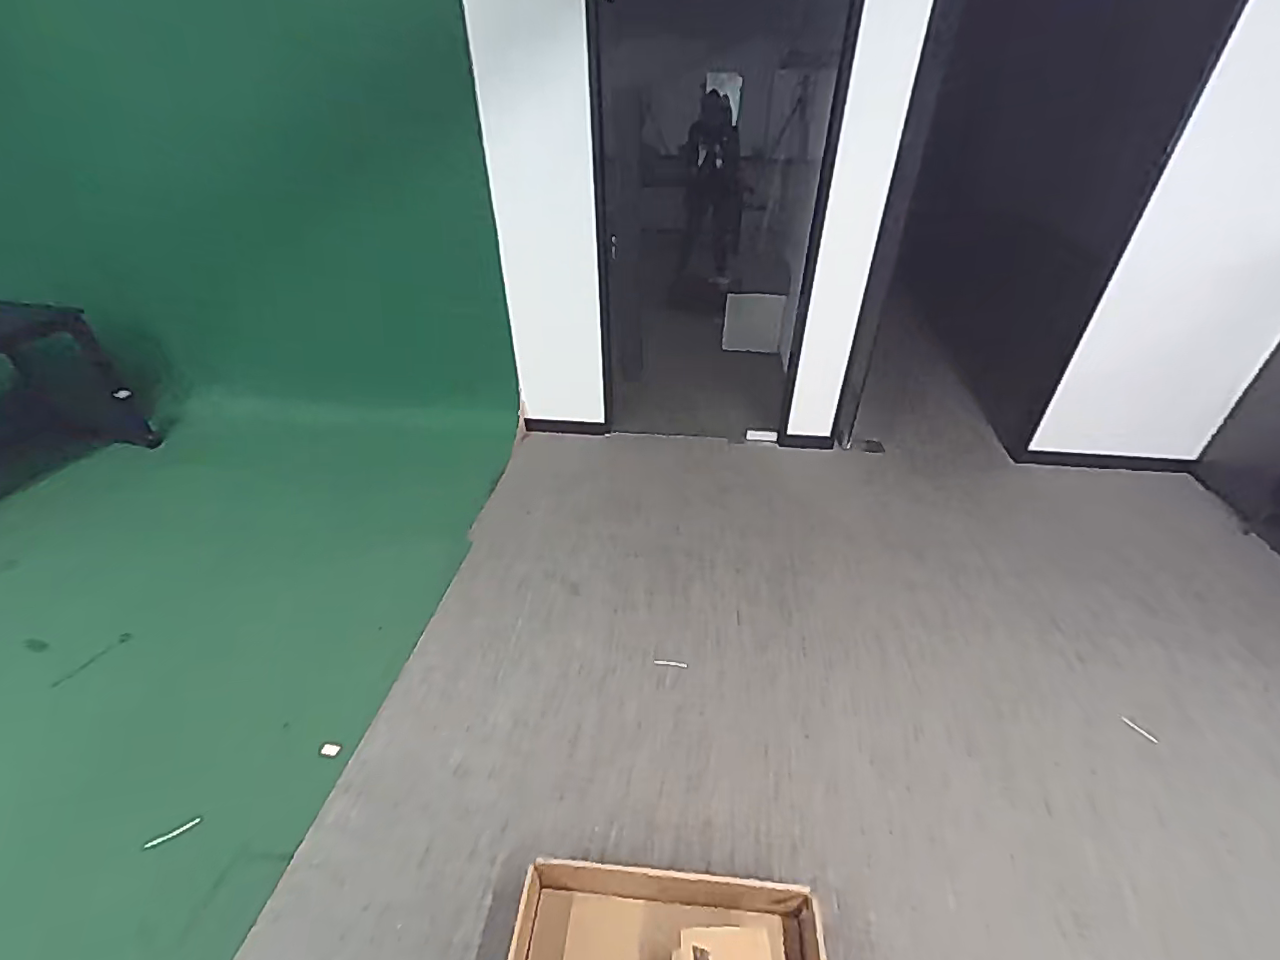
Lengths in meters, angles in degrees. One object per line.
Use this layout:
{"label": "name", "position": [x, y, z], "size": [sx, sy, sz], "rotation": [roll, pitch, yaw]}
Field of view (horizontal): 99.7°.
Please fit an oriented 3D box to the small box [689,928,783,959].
{"label": "small box", "position": [0.187, 0.995, 1.045], "size": [0.179, 0.176, 0.168], "rotation": [-1, 37, 1]}
